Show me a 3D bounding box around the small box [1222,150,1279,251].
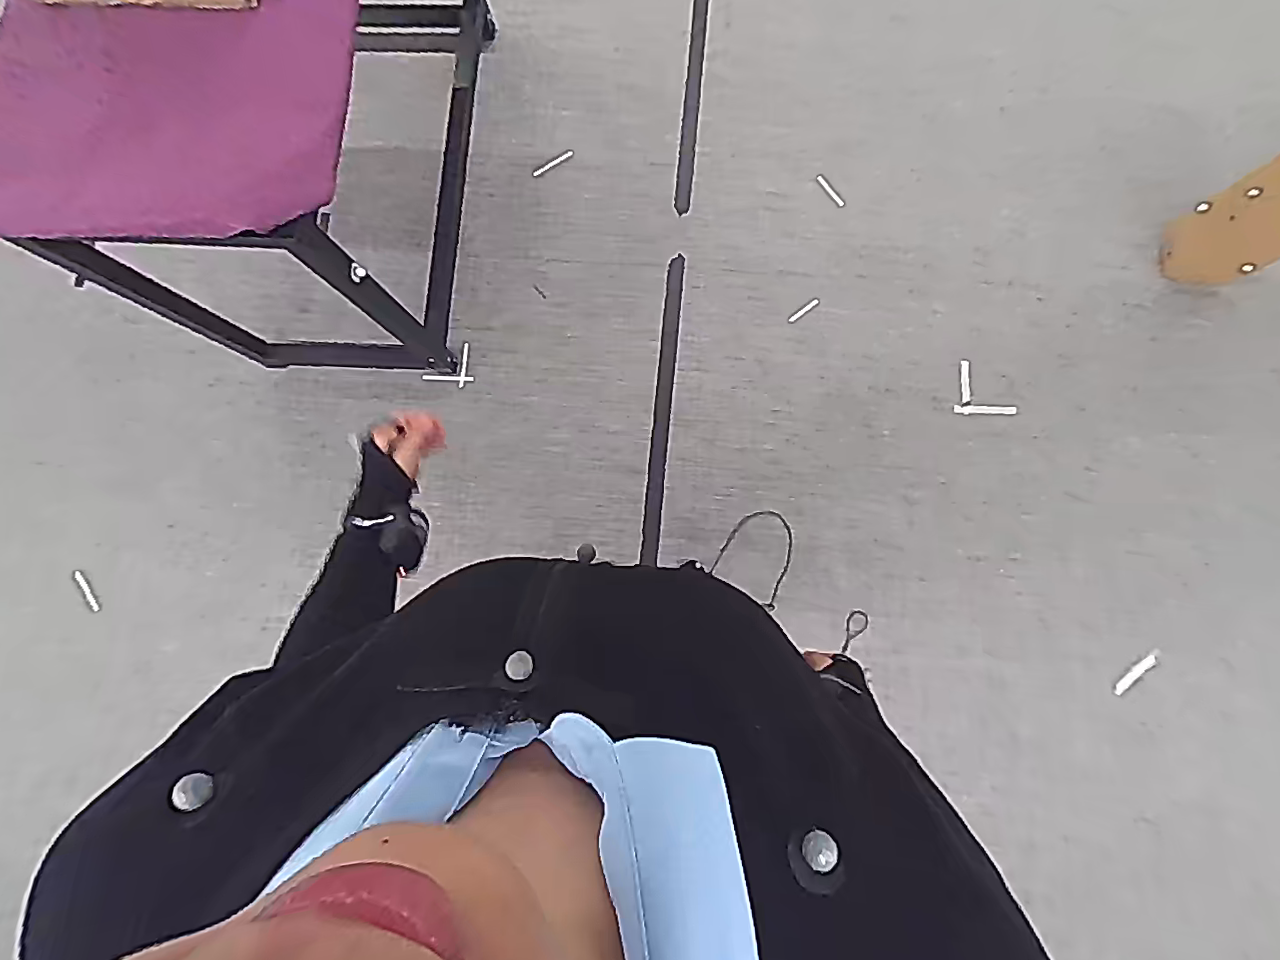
[{"bbox_3d":[1.614,-0.694,1.340,0.179,0.176,0.168,11,82,3],"label":"small box"}]
